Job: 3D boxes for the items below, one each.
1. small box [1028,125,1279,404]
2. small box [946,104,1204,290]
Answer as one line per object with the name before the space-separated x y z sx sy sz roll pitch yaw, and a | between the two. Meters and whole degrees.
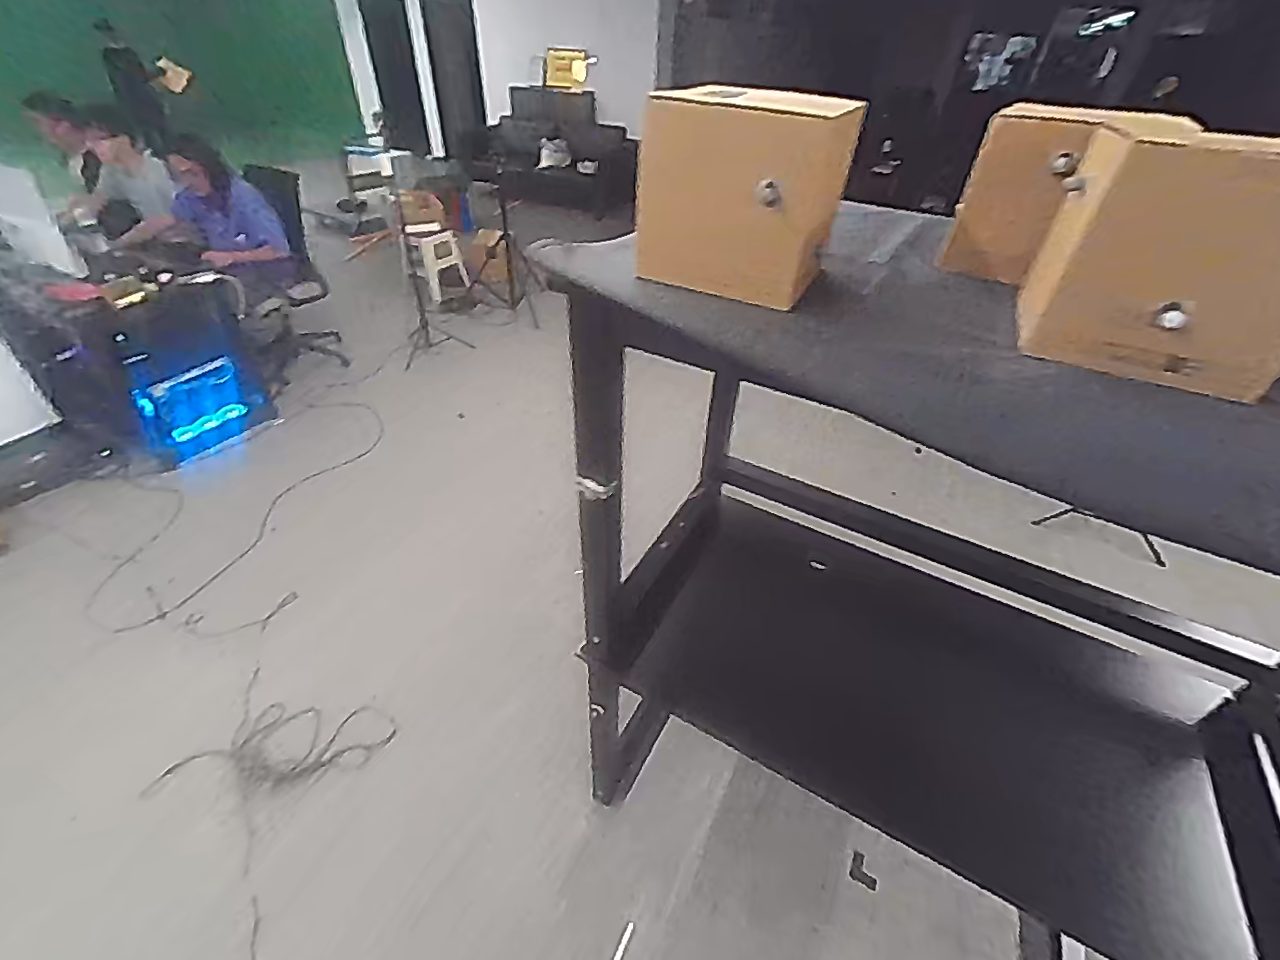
small box | 0.464 -0.191 0.465 0.168 0.176 0.179 21 42 20
small box | 0.499 -0.328 0.637 0.179 0.176 0.168 26 45 25
